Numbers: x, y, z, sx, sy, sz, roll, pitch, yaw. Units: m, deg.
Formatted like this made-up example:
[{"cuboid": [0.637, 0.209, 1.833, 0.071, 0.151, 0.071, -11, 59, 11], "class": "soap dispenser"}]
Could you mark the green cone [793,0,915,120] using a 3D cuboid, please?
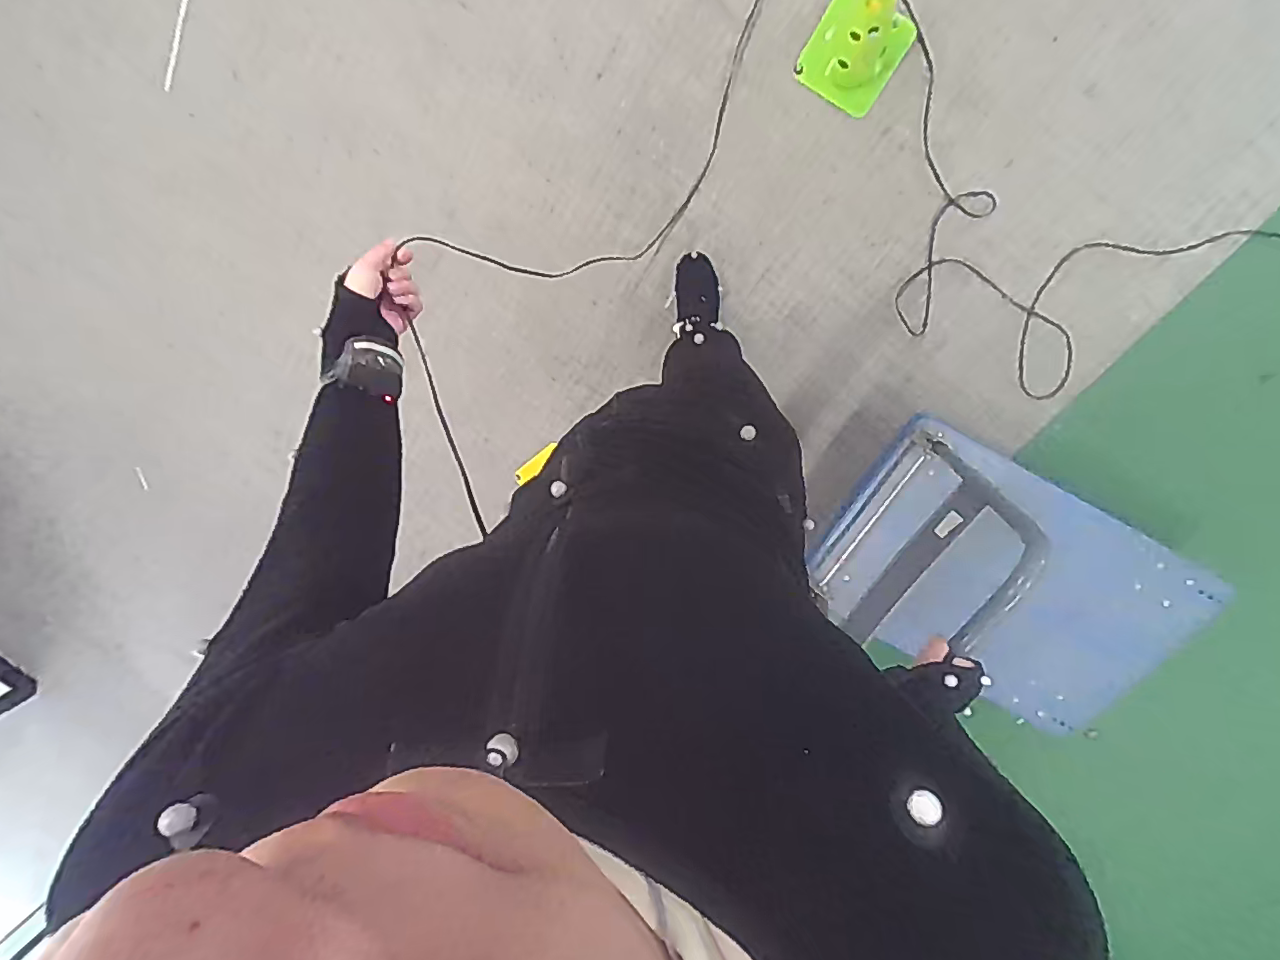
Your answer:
[{"cuboid": [0.445, -0.893, 1.046, 0.200, 0.368, 0.202, 31, 111, -1], "class": "green cone"}]
